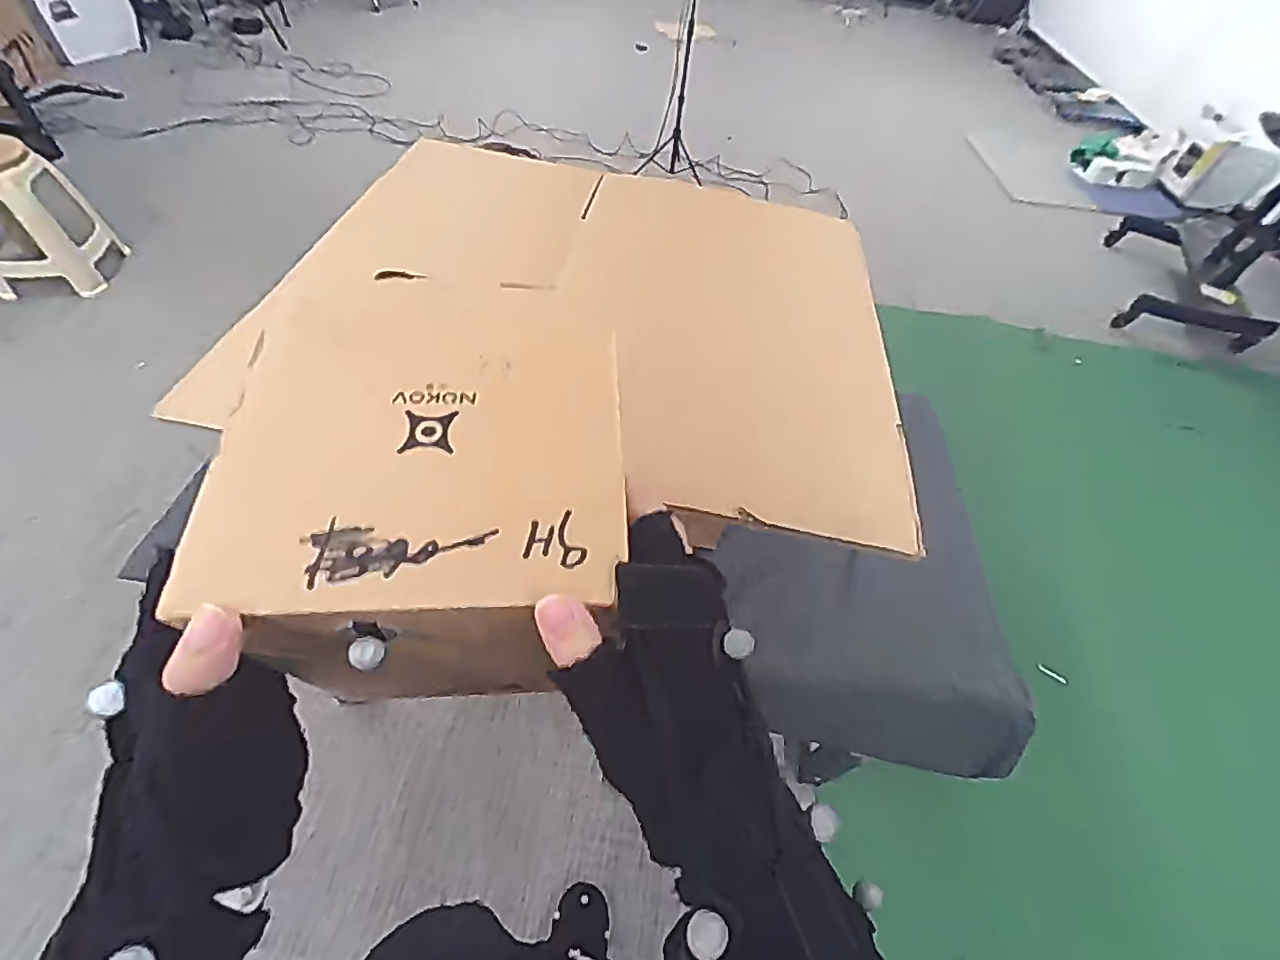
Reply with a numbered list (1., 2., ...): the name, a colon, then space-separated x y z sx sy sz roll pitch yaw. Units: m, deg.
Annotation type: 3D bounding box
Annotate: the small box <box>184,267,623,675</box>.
1. small box: -0.098 0.004 0.317 0.168 0.176 0.179 0 58 -5
